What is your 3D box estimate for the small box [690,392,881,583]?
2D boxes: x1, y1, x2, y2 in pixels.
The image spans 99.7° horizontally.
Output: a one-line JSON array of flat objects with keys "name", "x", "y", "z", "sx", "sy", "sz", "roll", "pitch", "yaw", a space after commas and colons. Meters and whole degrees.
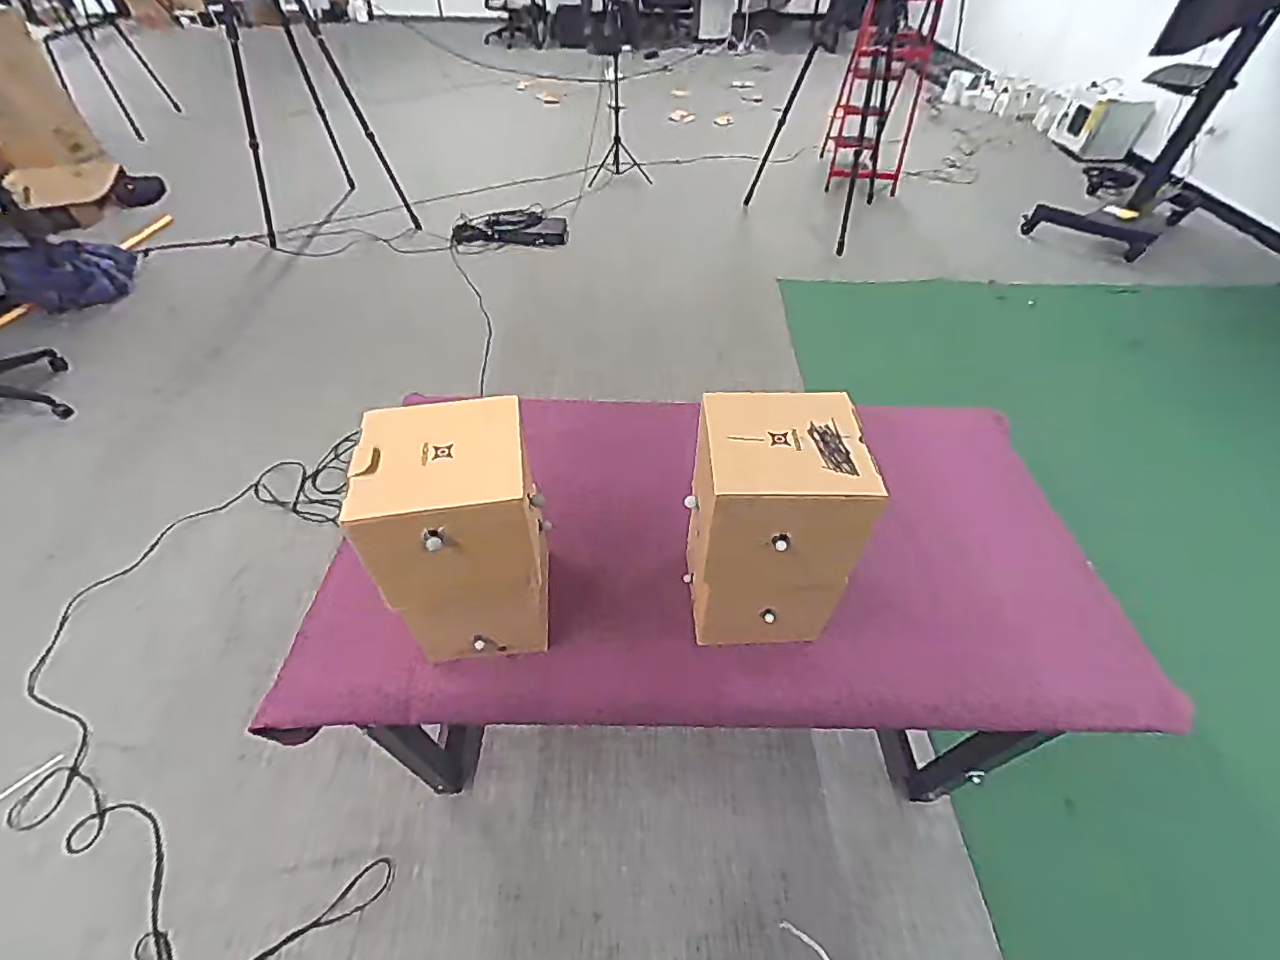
[{"name": "small box", "x": 0.158, "y": 0.013, "z": 0.657, "sx": 0.179, "sy": 0.176, "sz": 0.168, "roll": 1, "pitch": 48, "yaw": 0}]

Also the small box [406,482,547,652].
[{"name": "small box", "x": -0.223, "y": 0.122, "z": 0.764, "sx": 0.168, "sy": 0.176, "sz": 0.179, "roll": -3, "pitch": 49, "yaw": -5}]

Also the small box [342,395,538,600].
[{"name": "small box", "x": -0.215, "y": 0.022, "z": 0.635, "sx": 0.179, "sy": 0.176, "sz": 0.168, "roll": -7, "pitch": 49, "yaw": -8}]
